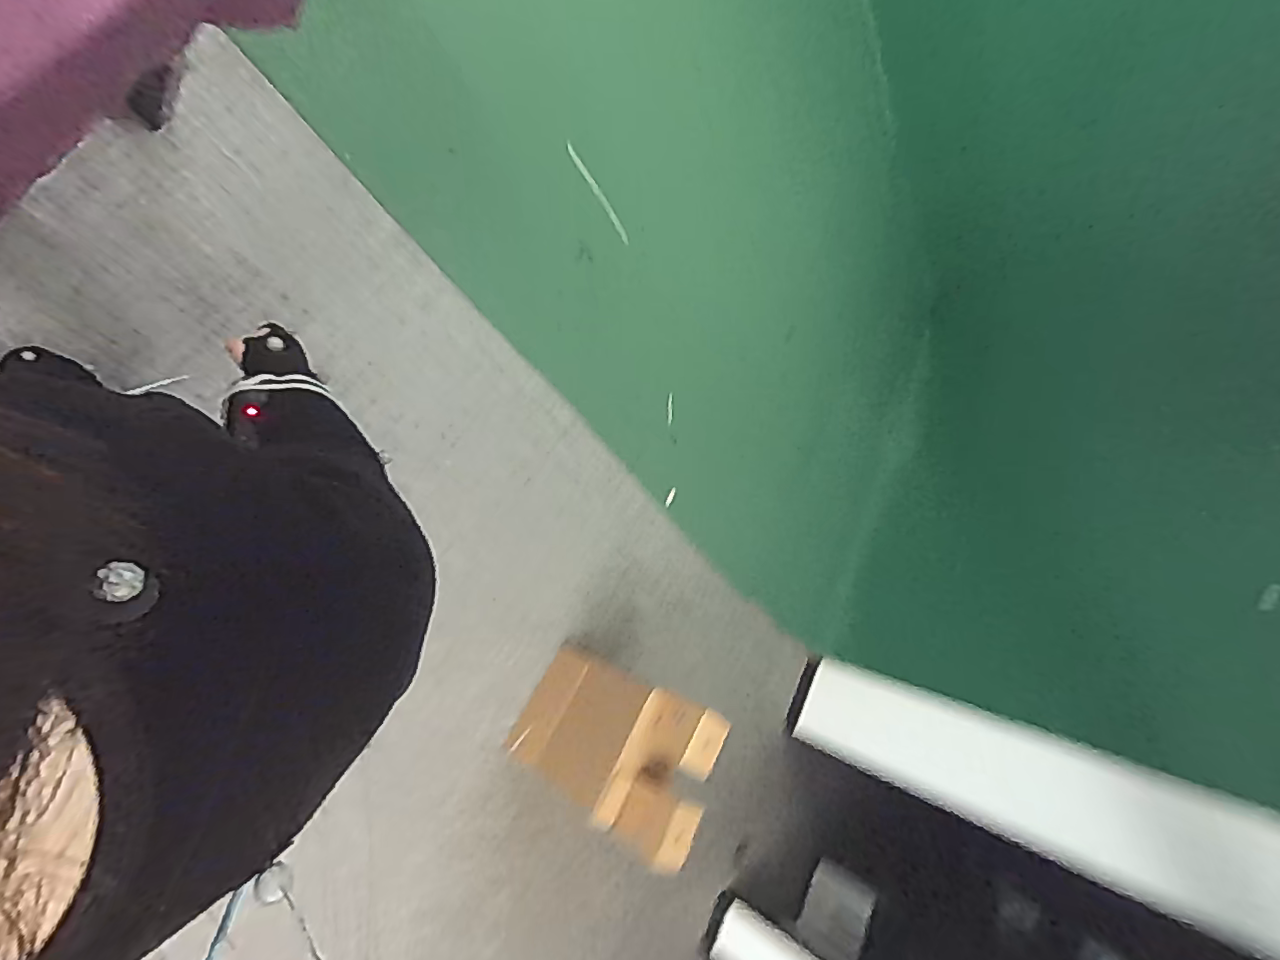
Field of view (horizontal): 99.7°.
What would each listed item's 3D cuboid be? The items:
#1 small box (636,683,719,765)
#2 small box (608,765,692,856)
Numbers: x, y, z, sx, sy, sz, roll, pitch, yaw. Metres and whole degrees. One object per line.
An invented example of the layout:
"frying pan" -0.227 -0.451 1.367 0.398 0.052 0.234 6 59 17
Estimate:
"small box" 0.117 0.770 1.723 0.179 0.176 0.168 48 64 -39
"small box" 0.025 1.019 1.671 0.168 0.176 0.179 47 62 -42
